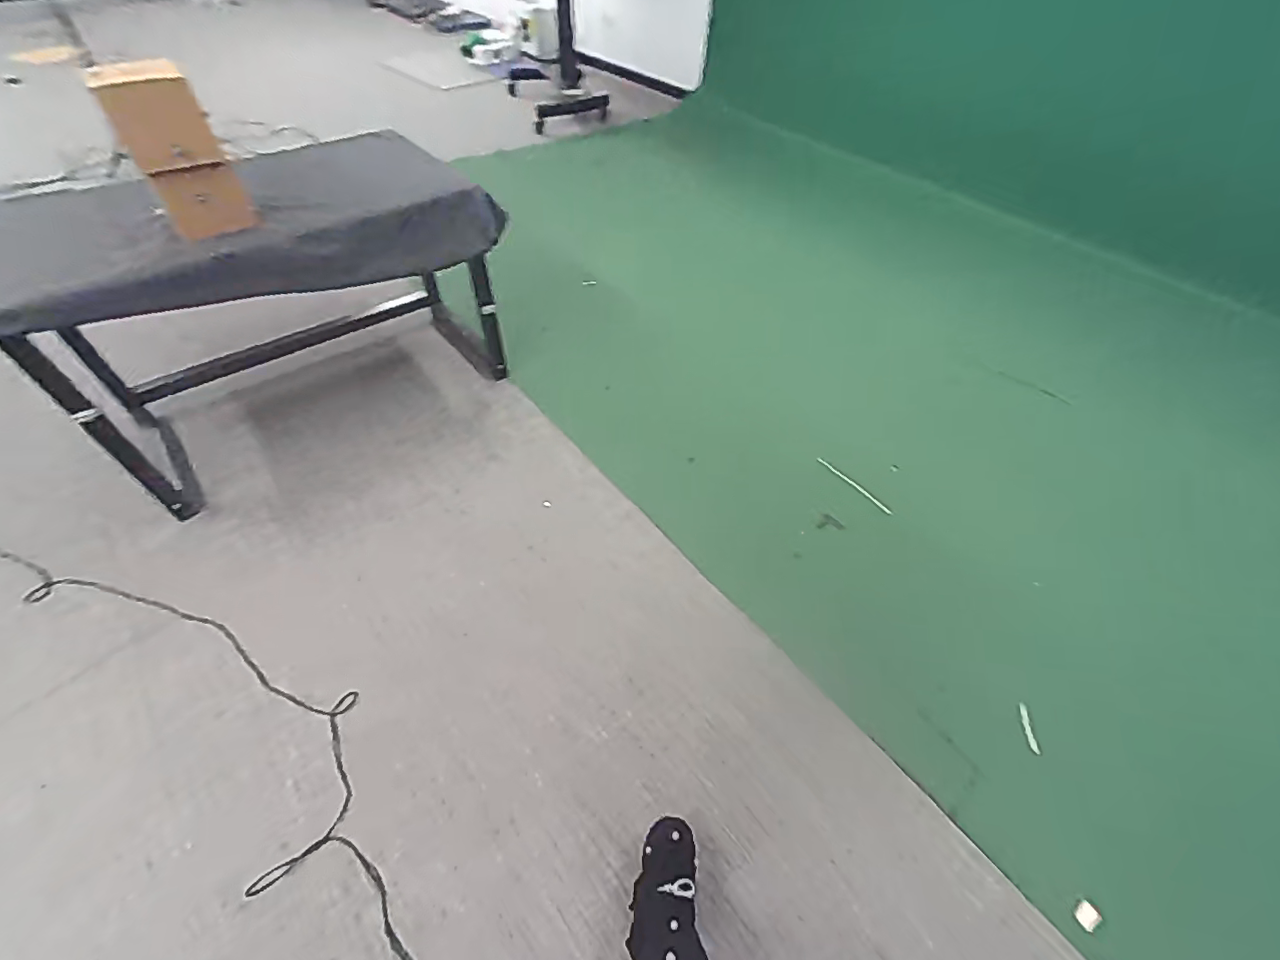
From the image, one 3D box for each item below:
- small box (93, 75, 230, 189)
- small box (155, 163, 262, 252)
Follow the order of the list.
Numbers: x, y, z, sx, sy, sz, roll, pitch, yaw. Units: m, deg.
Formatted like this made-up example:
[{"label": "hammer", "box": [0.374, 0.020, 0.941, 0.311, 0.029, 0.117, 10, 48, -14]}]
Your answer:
[{"label": "small box", "box": [-1.092, -0.805, 1.250, 0.179, 0.176, 0.168, -32, 58, -26]}, {"label": "small box", "box": [-1.106, -0.713, 1.383, 0.179, 0.176, 0.168, -32, 56, -25]}]
